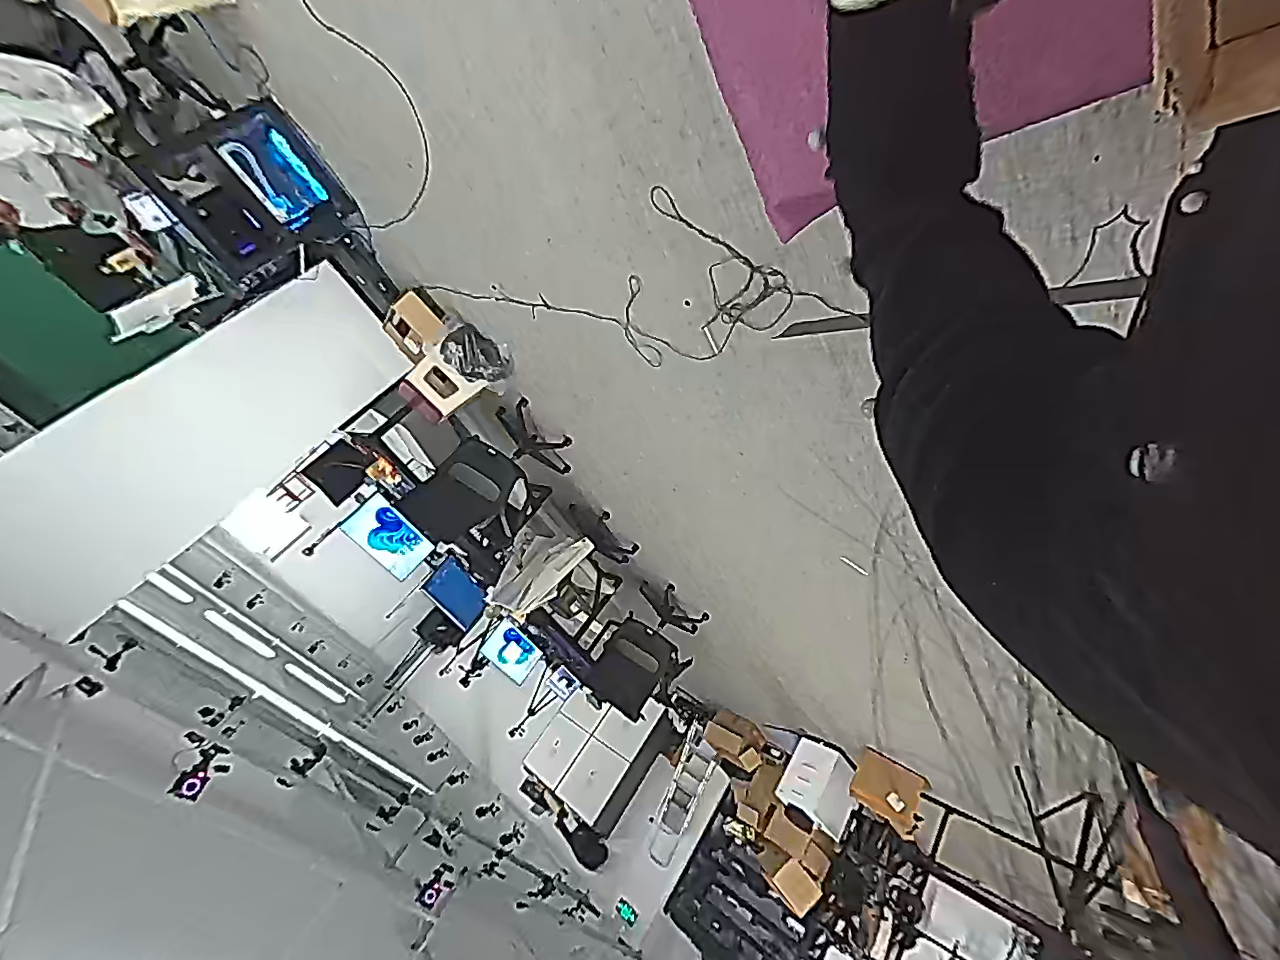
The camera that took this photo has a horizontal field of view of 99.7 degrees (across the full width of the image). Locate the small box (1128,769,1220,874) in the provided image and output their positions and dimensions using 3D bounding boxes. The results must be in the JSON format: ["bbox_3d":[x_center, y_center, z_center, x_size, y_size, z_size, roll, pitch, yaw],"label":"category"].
[{"bbox_3d":[1.533,0.973,1.554,0.168,0.176,0.179,11,141,46],"label":"small box"}]

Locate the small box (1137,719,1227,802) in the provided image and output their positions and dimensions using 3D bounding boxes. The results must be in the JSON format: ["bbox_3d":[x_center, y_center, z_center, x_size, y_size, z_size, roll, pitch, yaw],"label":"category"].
[{"bbox_3d":[1.623,0.852,1.620,0.168,0.176,0.179,13,144,43],"label":"small box"}]
